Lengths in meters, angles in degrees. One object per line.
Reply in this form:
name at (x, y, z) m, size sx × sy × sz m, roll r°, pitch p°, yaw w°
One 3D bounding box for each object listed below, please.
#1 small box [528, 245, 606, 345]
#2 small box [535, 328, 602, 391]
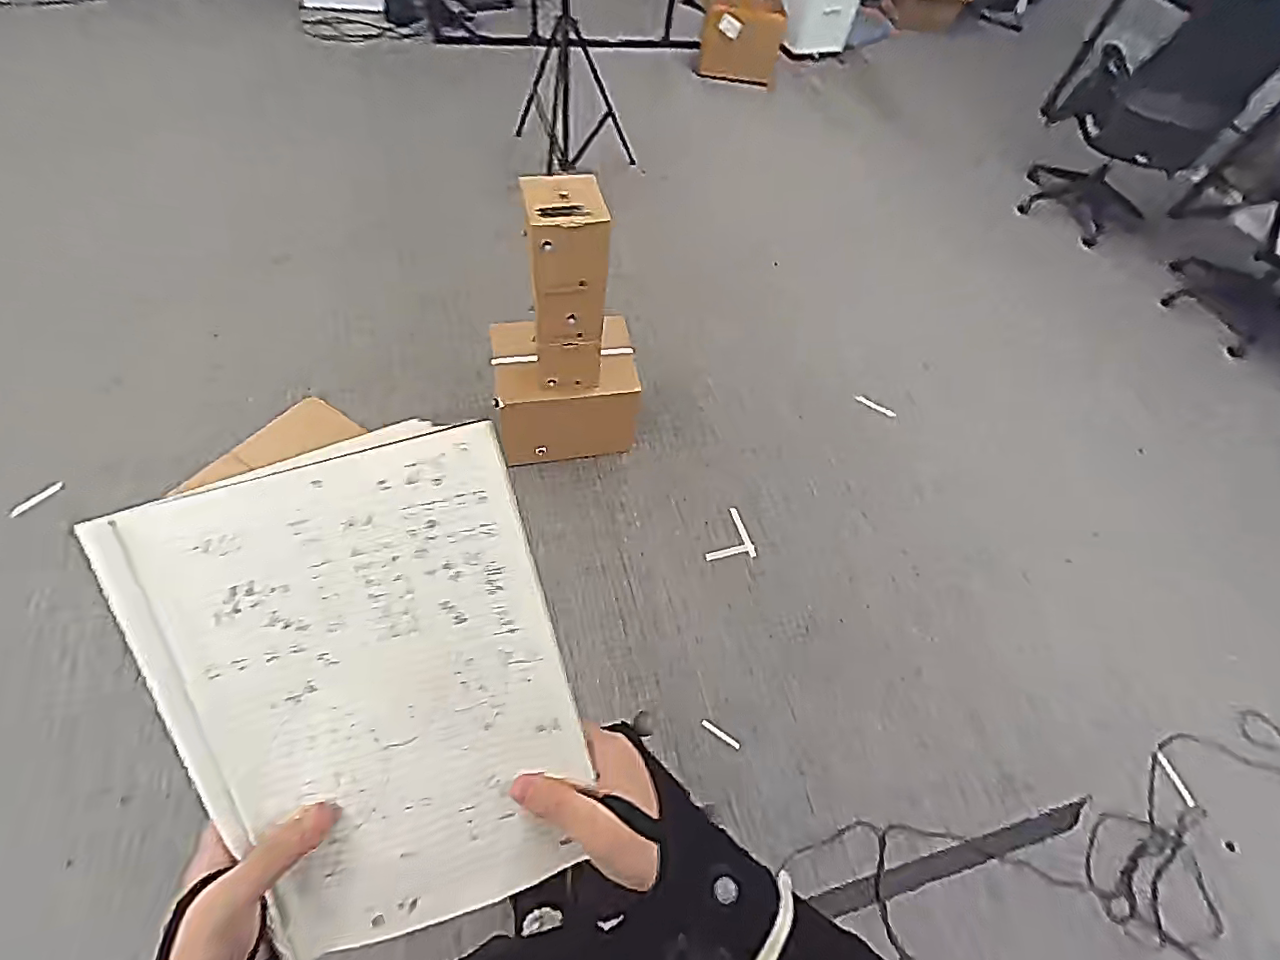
small box at (-0.181, -0.451, 1.338) m, size 0.168 × 0.176 × 0.179 m, roll -8°, pitch 61°, yaw -12°
small box at (-0.196, -0.357, 1.472) m, size 0.168 × 0.176 × 0.179 m, roll -5°, pitch 59°, yaw -10°
